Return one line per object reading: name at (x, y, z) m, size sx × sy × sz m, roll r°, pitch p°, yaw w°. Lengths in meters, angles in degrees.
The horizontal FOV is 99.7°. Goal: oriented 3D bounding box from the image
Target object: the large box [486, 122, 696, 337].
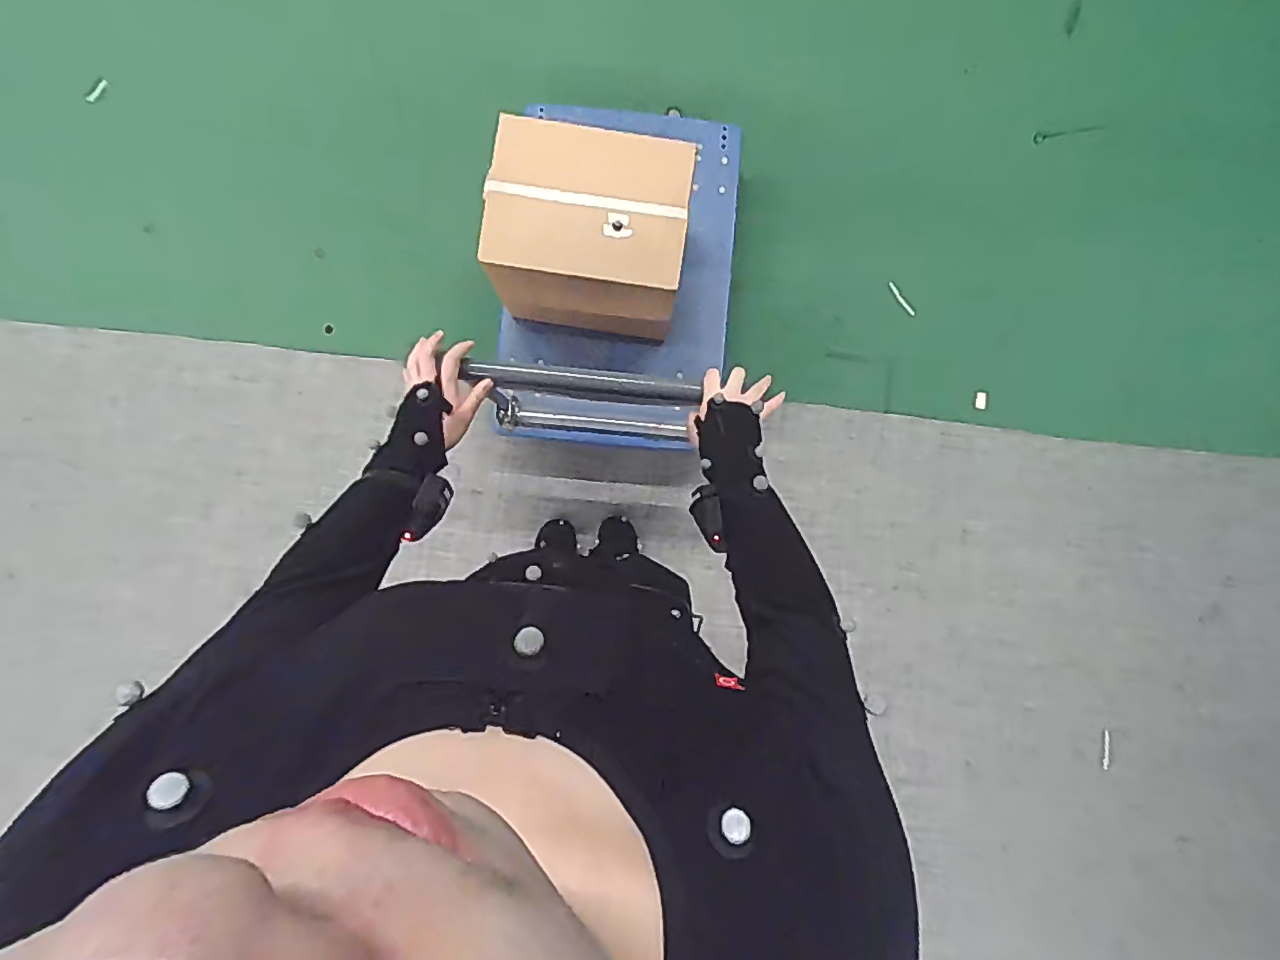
large box at (-0.106, -0.550, 1.250) m, size 0.408 × 0.320 × 0.320 m, roll 8°, pitch 86°, yaw -2°
